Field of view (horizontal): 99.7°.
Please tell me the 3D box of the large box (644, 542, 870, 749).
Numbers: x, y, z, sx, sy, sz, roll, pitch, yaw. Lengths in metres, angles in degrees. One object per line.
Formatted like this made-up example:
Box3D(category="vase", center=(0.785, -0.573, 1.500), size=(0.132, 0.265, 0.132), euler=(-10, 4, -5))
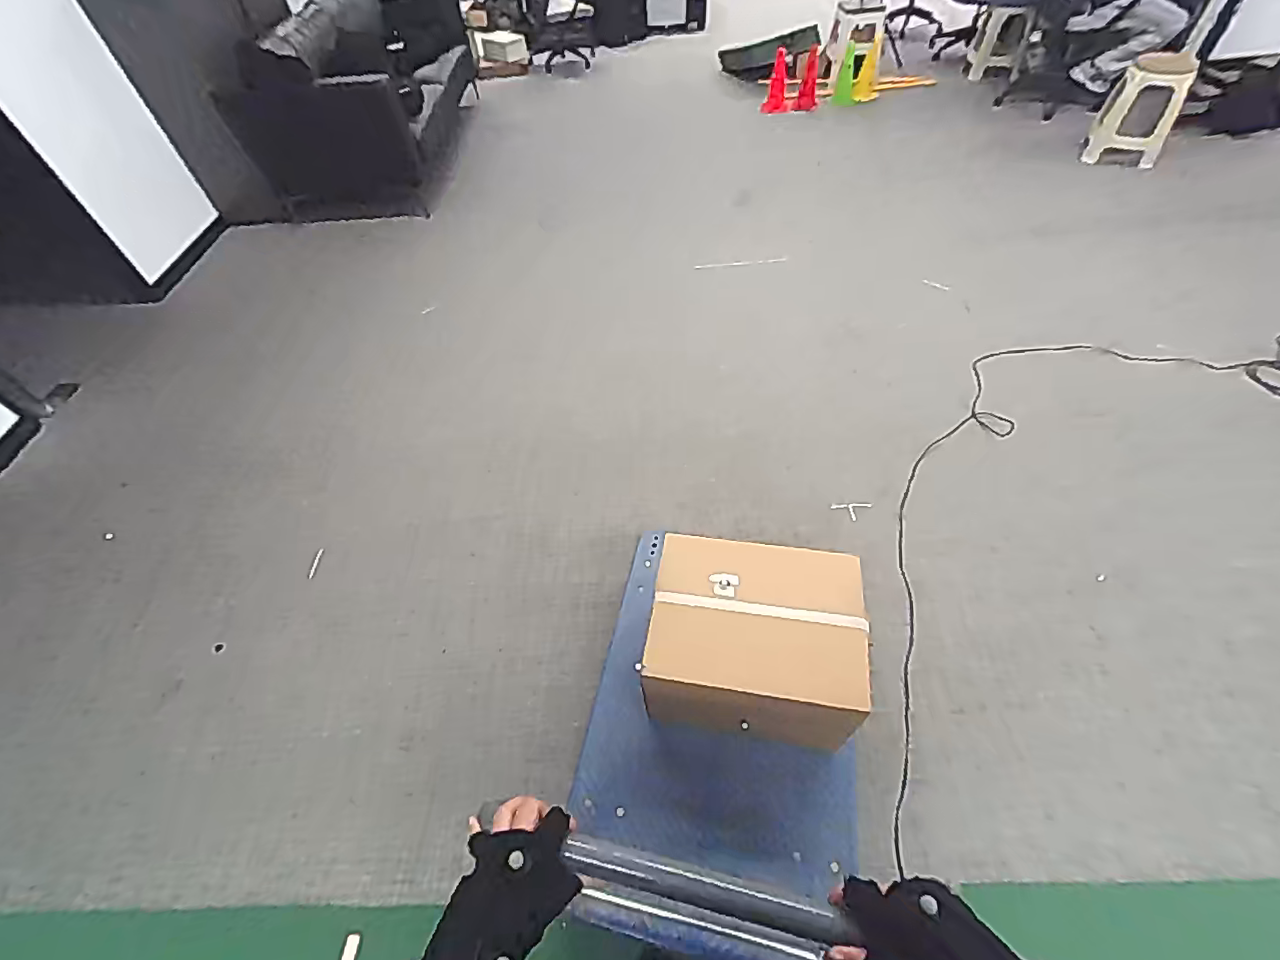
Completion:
Box3D(category="large box", center=(0.239, 0.357, 1.164), size=(0.408, 0.320, 0.320), euler=(5, 51, 10))
